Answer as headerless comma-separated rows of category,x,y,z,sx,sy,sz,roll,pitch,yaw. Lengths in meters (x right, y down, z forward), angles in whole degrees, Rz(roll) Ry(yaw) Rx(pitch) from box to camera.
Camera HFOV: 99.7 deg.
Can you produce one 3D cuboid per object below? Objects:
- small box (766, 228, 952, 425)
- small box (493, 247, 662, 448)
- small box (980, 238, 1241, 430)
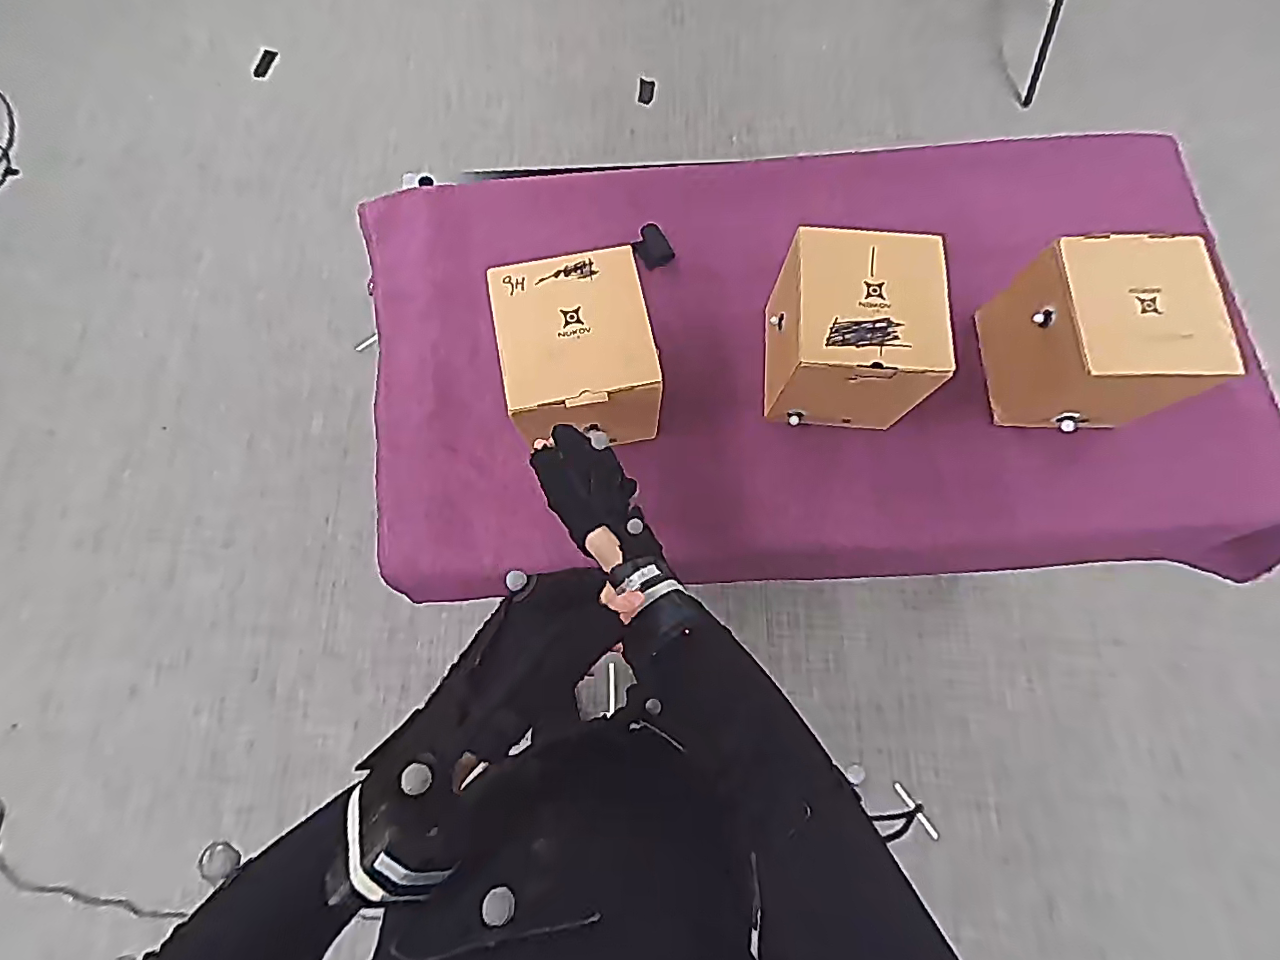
small box,0.258,-0.180,0.675,0.168,0.176,0.179,5,74,1
small box,-0.070,-0.147,0.663,0.168,0.176,0.179,-11,76,-4
small box,0.561,-0.174,0.676,0.168,0.176,0.179,-1,75,1
